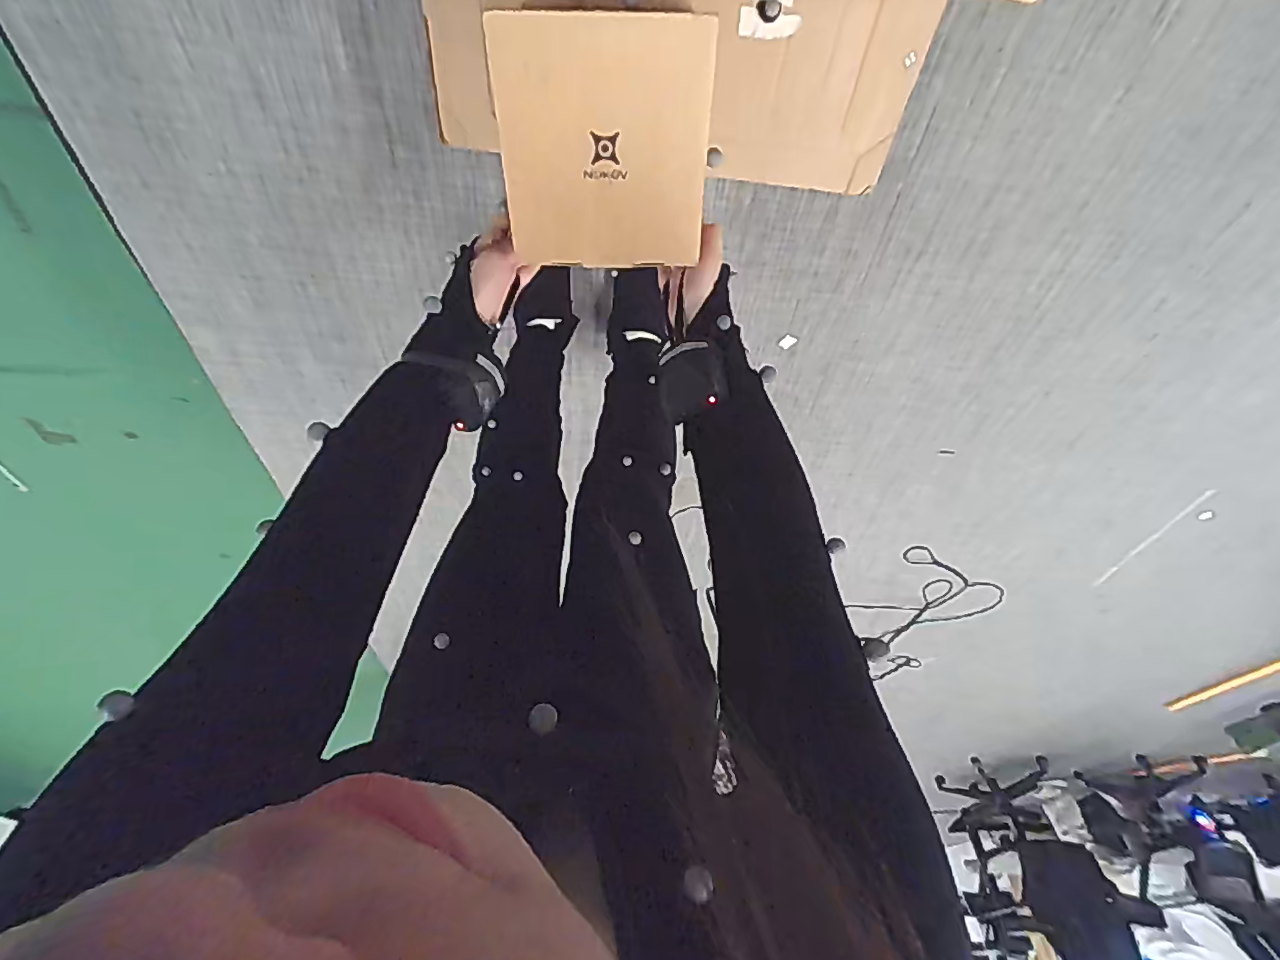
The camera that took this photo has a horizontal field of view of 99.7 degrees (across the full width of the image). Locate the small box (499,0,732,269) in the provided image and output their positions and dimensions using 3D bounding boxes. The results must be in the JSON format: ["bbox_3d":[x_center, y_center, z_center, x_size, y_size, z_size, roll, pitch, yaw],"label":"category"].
[{"bbox_3d":[-0.025,-0.311,0.485,0.168,0.176,0.179,1,135,-4],"label":"small box"}]
